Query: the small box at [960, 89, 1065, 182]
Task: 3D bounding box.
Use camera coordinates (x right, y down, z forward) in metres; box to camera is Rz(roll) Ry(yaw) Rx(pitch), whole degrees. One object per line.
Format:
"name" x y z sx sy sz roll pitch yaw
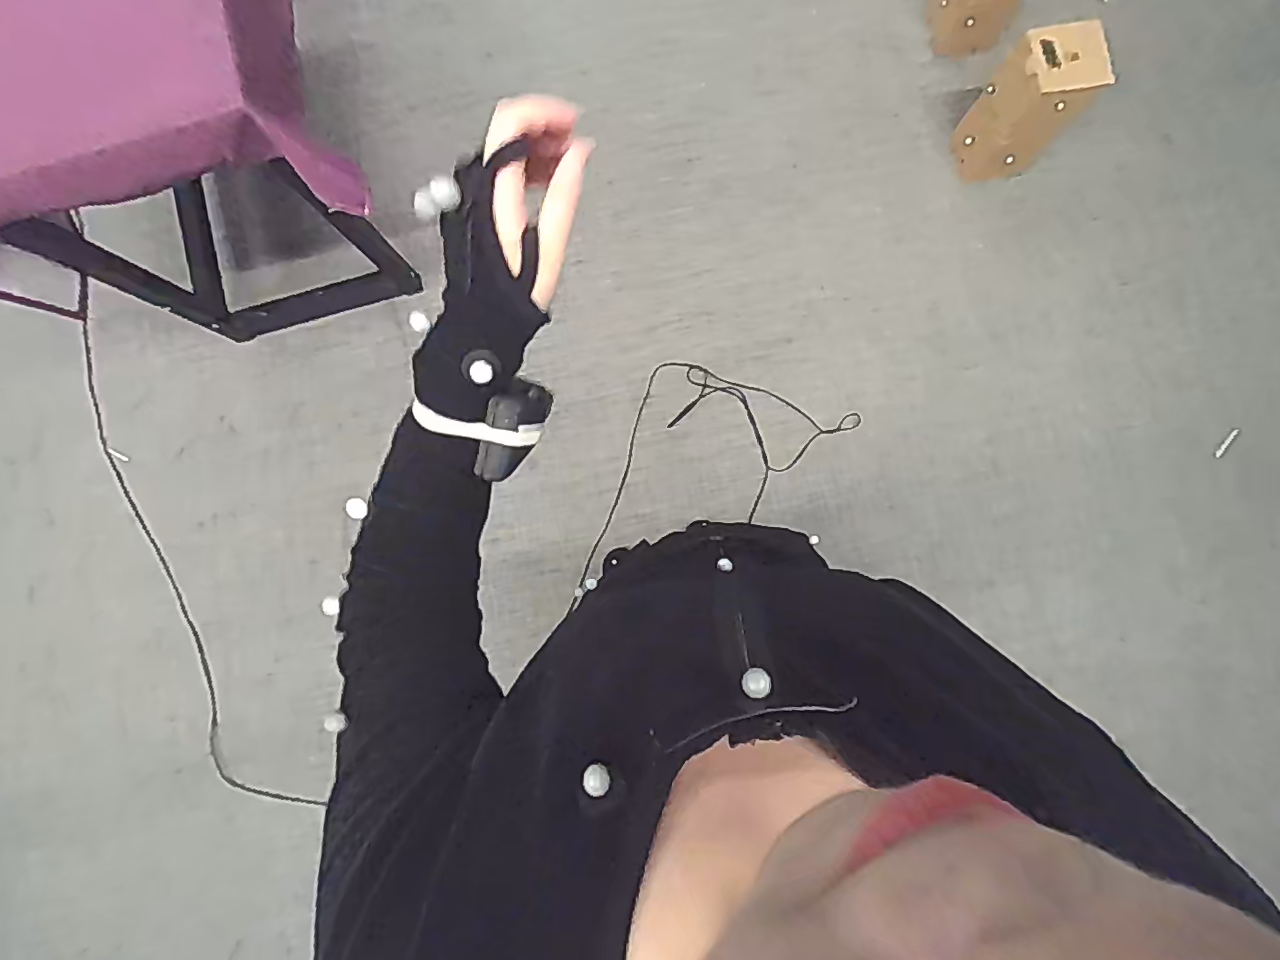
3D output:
"small box" 1.023 -0.963 1.506 0.179 0.176 0.168 -9 85 2

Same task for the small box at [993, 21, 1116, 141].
"small box" 1.013 -0.978 1.342 0.179 0.176 0.168 -8 85 0

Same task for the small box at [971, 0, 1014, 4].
"small box" 0.951 -1.377 1.380 0.168 0.176 0.179 -8 85 1
